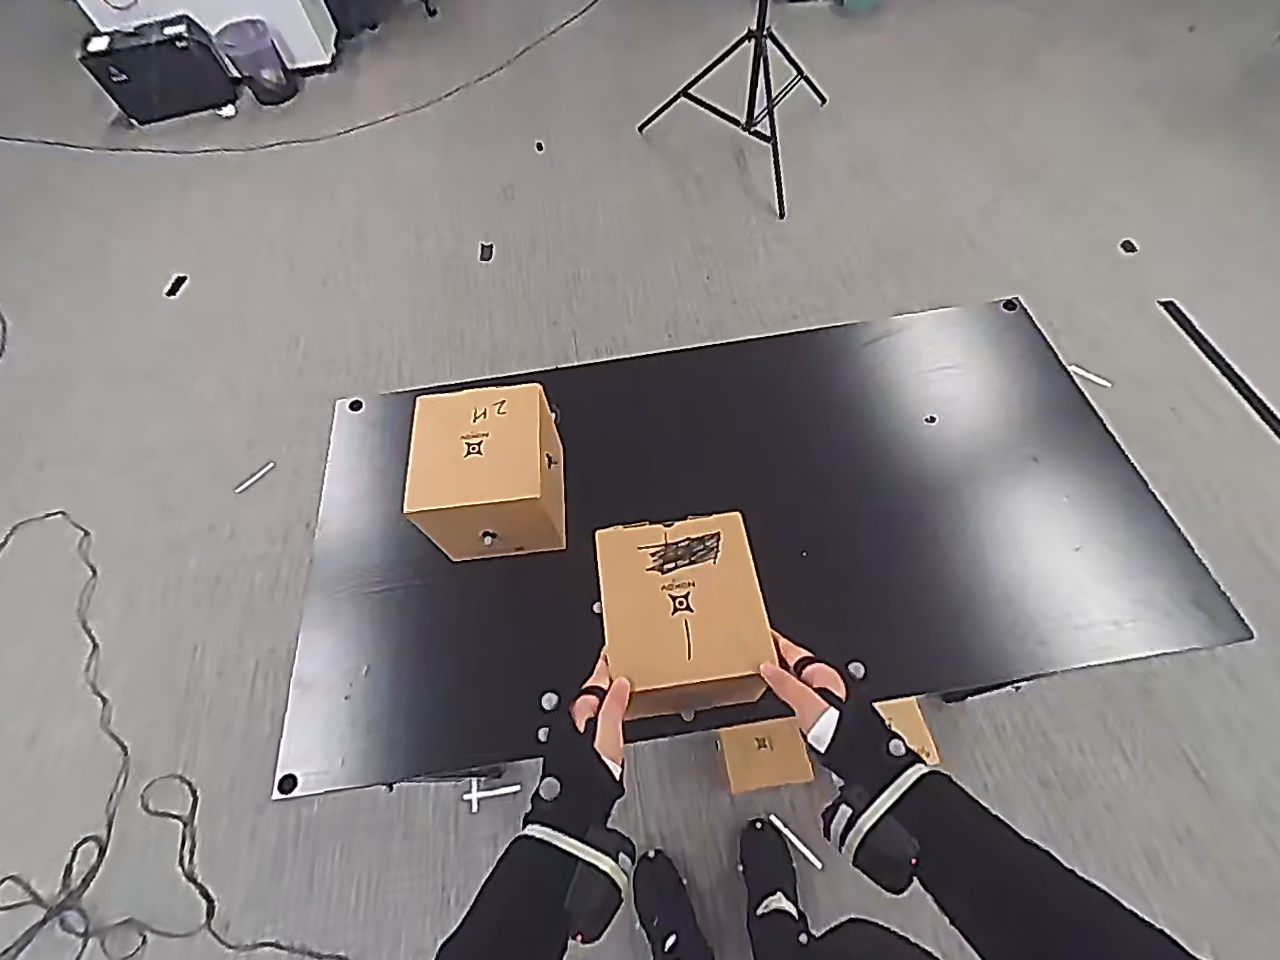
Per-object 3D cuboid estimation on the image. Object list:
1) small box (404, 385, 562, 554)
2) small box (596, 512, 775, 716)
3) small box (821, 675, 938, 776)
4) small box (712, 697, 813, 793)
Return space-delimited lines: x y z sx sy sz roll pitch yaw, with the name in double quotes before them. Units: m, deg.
"small box" -0.204 -0.005 0.751 0.168 0.176 0.179 -6 60 0
"small box" 0.043 0.160 0.628 0.168 0.176 0.179 -8 58 -1
"small box" 0.525 0.558 1.220 0.168 0.176 0.179 -10 60 -1
"small box" 0.266 0.597 1.220 0.179 0.176 0.168 -10 60 0
